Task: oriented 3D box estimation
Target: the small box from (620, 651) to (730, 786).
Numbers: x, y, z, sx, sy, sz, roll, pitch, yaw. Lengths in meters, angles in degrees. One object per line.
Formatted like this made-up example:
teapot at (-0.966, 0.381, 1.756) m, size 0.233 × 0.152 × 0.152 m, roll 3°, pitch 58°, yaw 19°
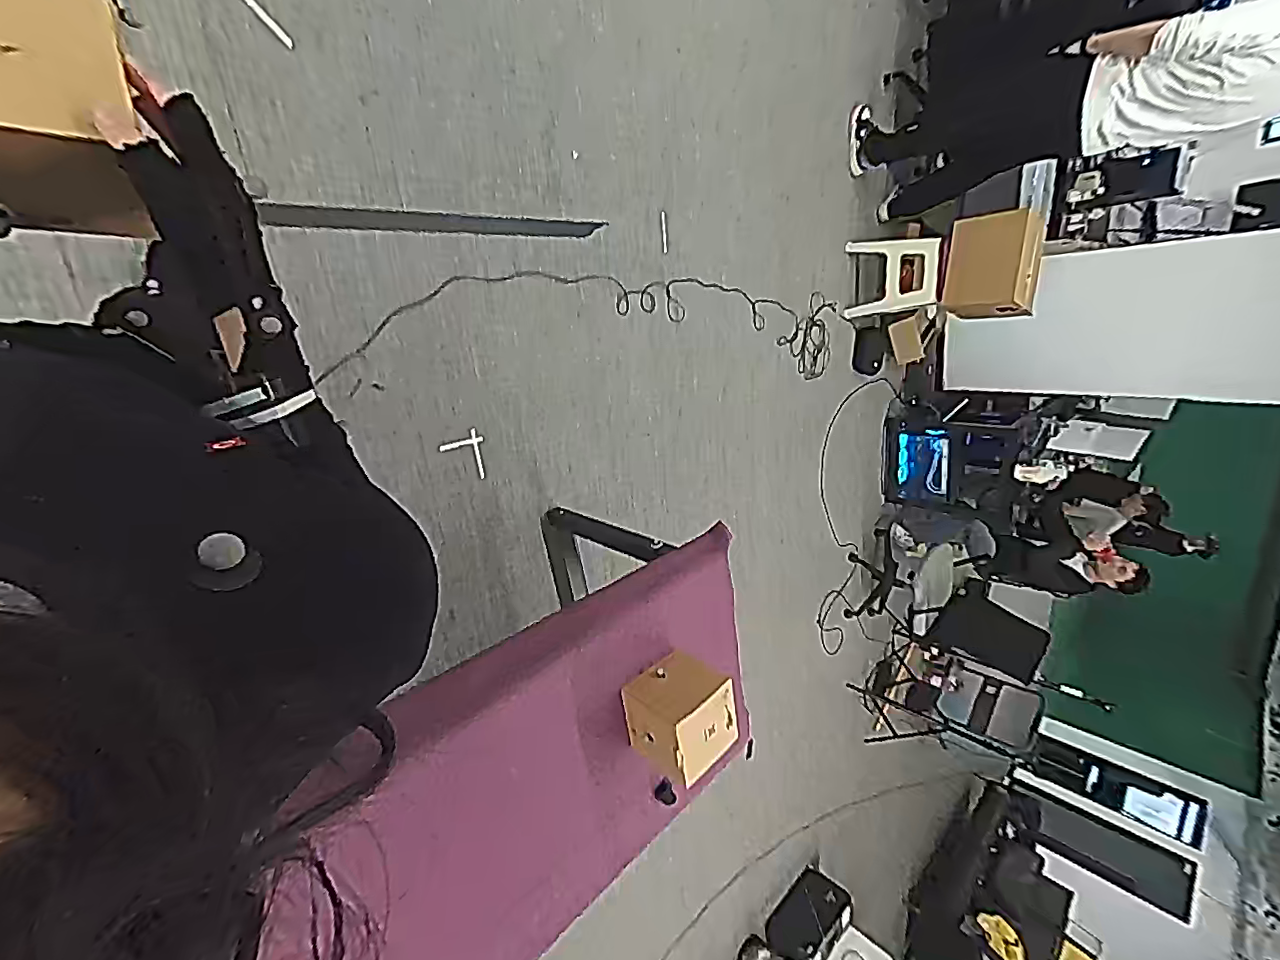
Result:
small box at (0.071, 0.506, 1.174) m, size 0.179 × 0.176 × 0.168 m, roll -24°, pitch 115°, yaw -37°

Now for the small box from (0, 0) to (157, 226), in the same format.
small box at (-0.437, -0.291, 0.346) m, size 0.168 × 0.176 × 0.179 m, roll -12°, pitch 98°, yaw -38°
